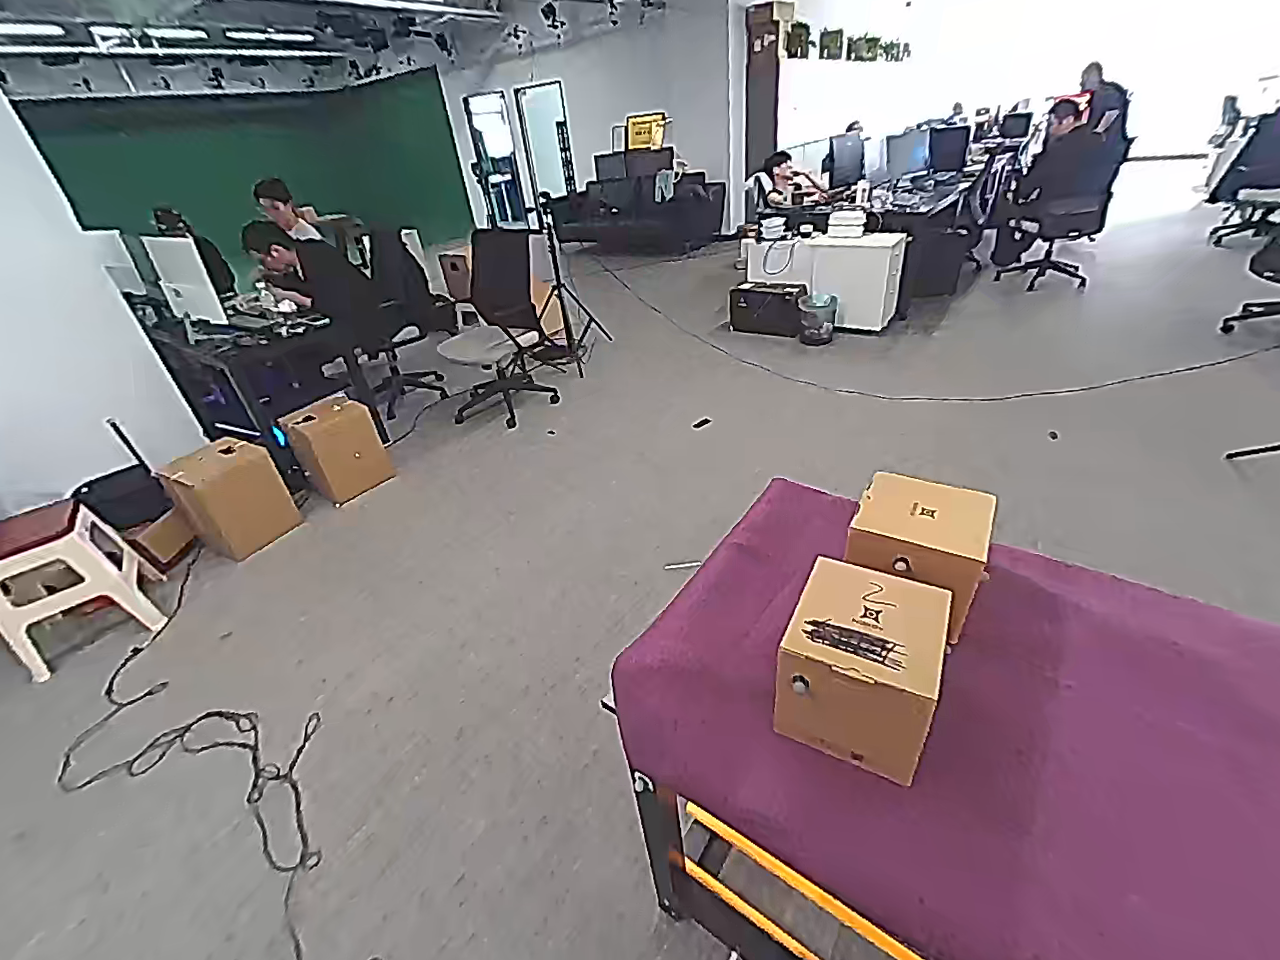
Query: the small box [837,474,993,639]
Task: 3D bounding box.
[{"bbox_3d":[0.425,0.119,0.847,0.179,0.176,0.168,15,39,29],"label":"small box"}]
